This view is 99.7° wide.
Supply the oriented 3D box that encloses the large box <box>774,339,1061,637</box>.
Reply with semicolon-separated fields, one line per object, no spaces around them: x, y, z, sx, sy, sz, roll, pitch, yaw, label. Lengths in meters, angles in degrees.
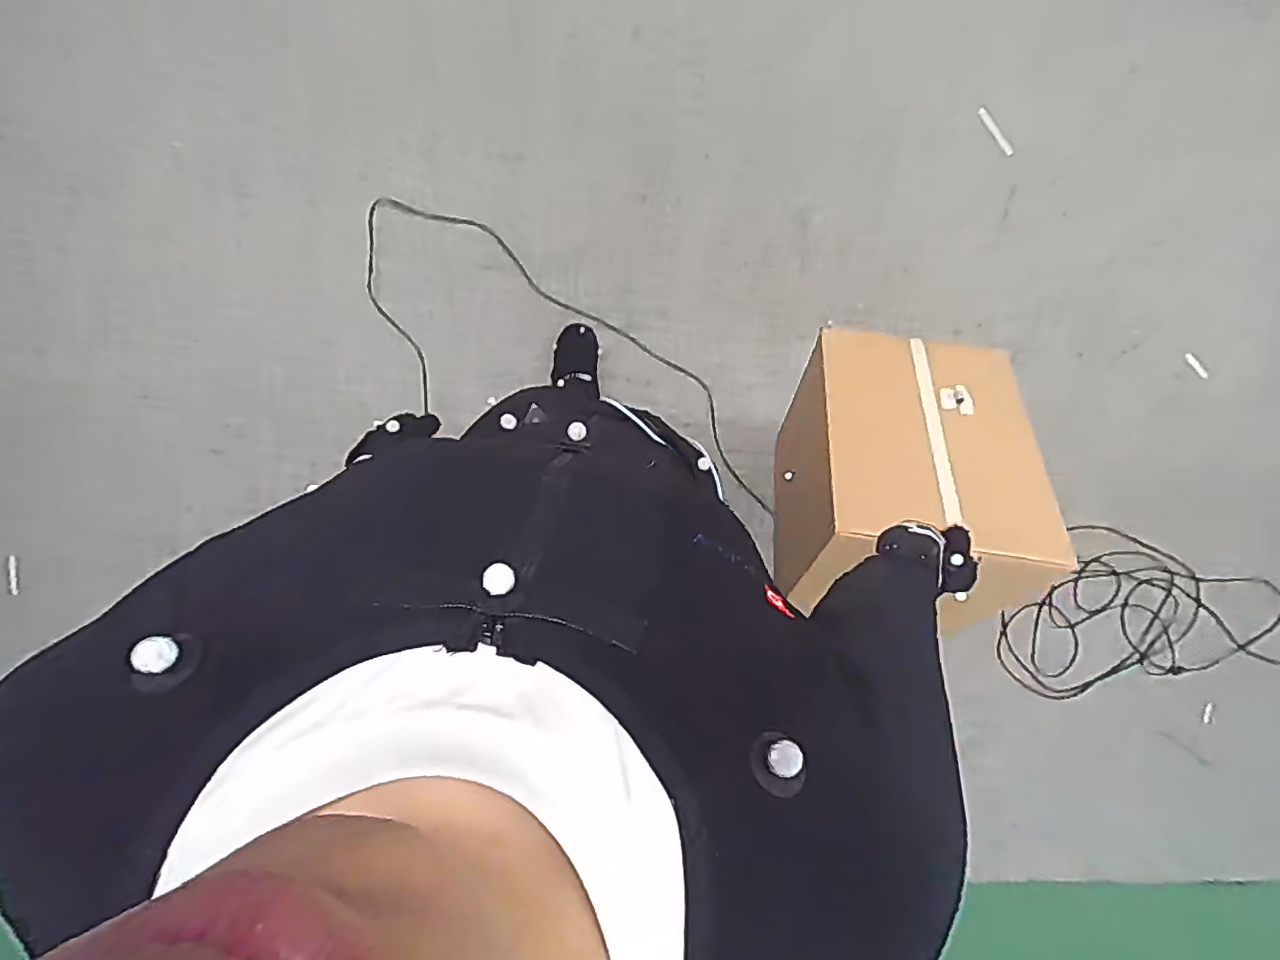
0.425;0.019;0.952;0.320;0.320;0.408;9;55;1;large box
